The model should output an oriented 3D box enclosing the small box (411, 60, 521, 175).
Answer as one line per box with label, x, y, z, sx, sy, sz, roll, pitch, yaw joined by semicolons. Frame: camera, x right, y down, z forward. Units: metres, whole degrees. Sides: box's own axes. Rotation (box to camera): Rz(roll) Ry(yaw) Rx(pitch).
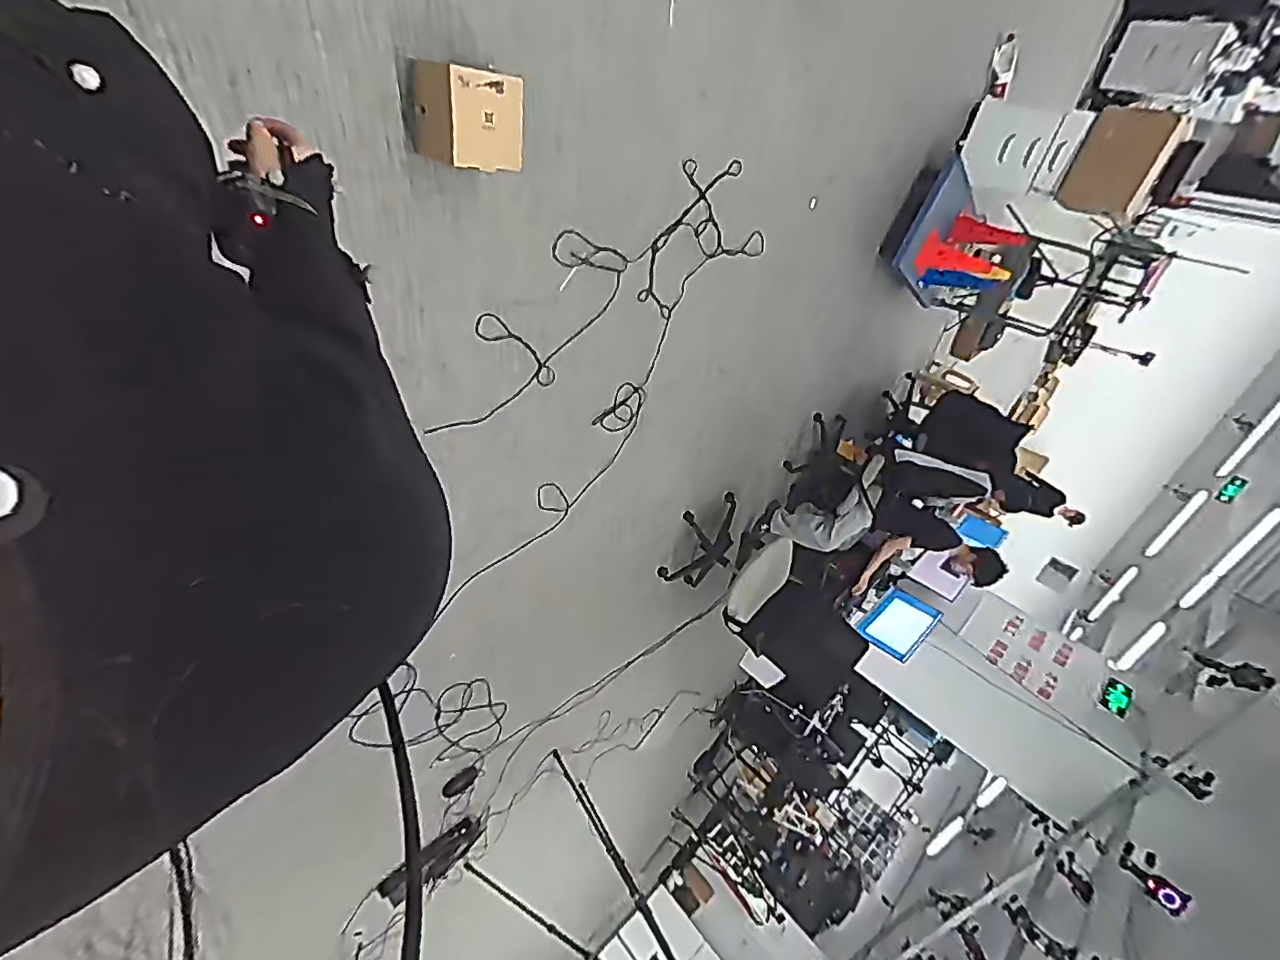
small box;-0.378;-0.781;1.170;0.168;0.176;0.179;-22;136;-40
